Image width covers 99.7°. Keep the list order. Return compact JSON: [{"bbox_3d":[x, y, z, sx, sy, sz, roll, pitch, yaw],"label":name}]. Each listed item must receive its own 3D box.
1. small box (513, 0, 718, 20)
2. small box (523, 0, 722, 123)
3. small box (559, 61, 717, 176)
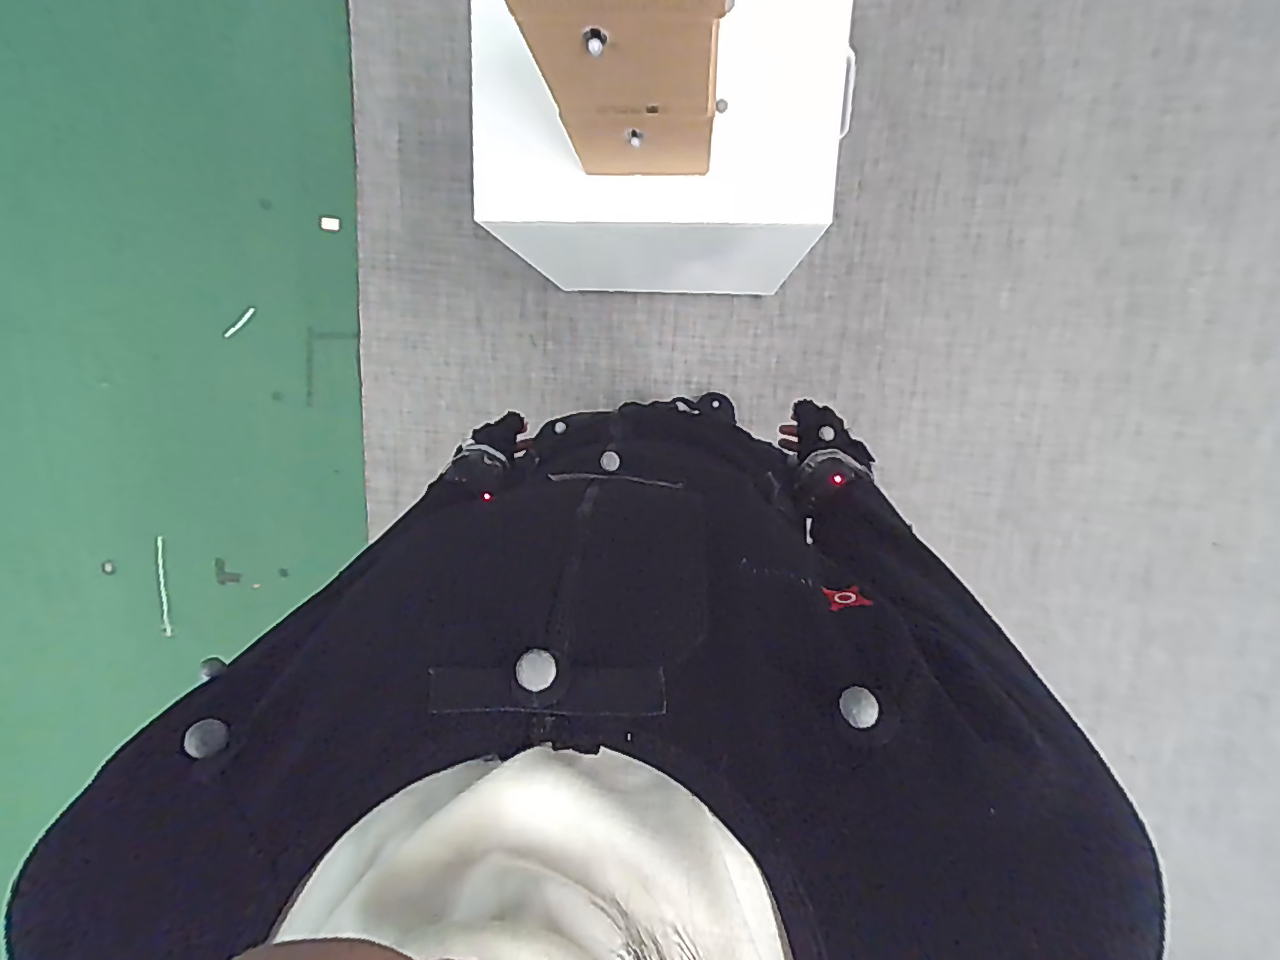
[{"bbox_3d":[-0.022,-0.440,0.346,0.179,0.176,0.168,5,100,5],"label":"small box"},{"bbox_3d":[-0.008,-0.472,0.509,0.168,0.176,0.179,1,100,5],"label":"small box"},{"bbox_3d":[0.005,-0.494,0.668,0.179,0.176,0.168,3,100,4],"label":"small box"}]
